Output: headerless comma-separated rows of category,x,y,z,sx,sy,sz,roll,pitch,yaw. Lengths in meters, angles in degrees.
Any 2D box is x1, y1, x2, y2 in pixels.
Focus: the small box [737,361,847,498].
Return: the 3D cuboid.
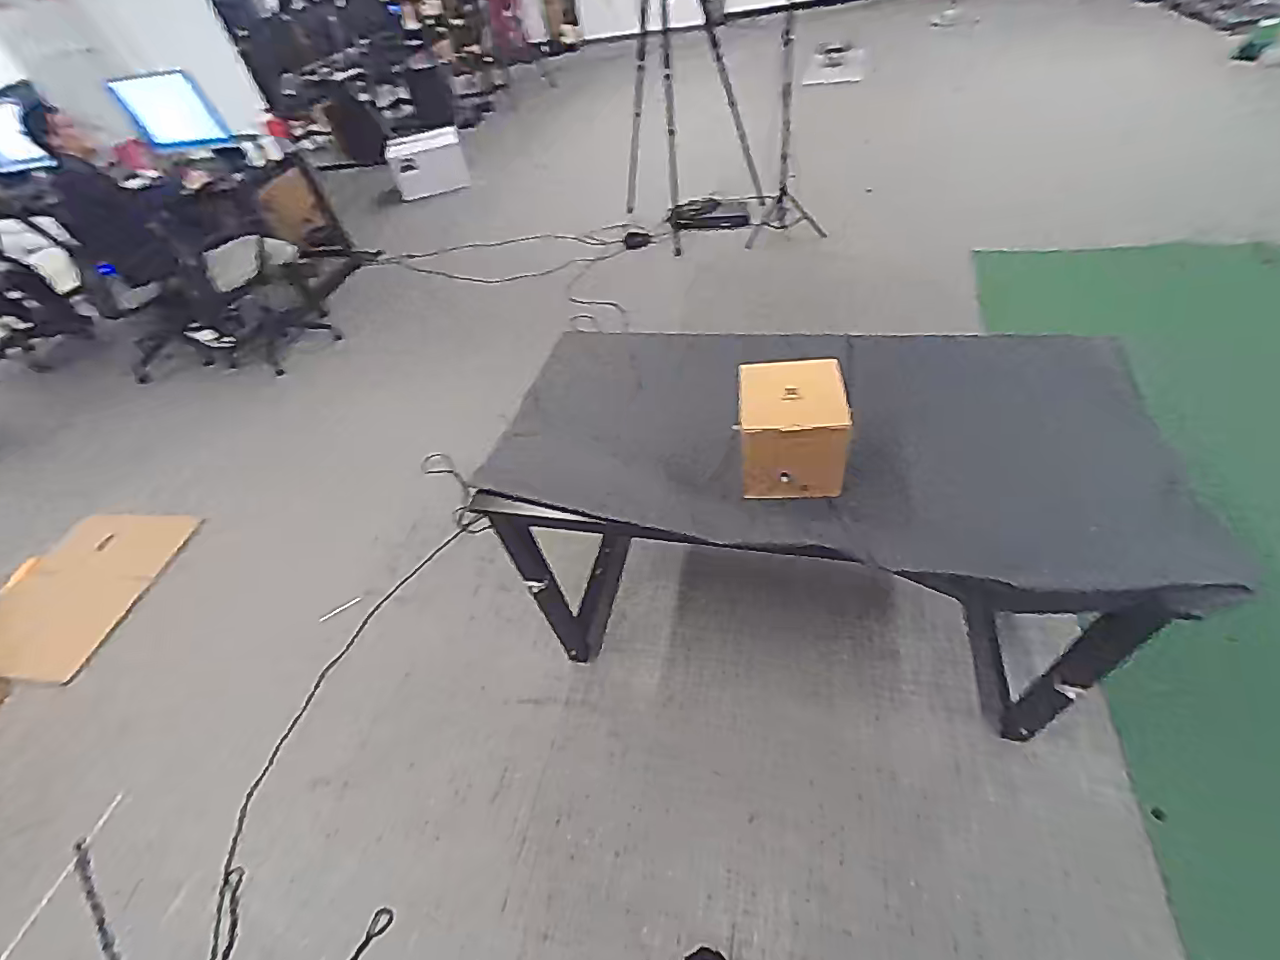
small box,0.257,-0.088,0.957,0.168,0.176,0.179,-1,48,10
